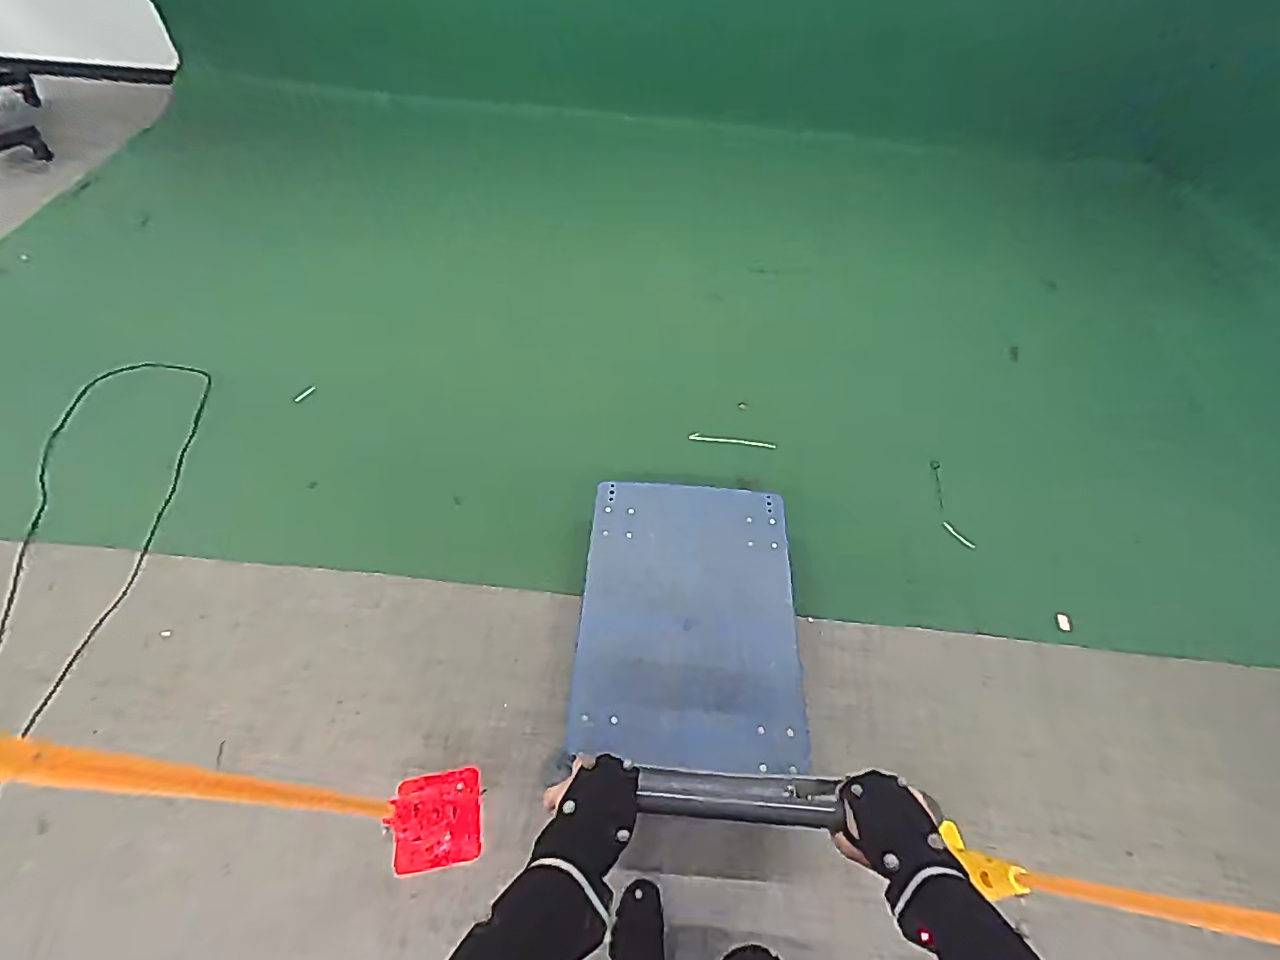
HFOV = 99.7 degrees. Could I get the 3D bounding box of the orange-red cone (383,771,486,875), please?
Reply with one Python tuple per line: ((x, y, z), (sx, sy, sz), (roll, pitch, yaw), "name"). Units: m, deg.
((-0.472, 0.727, 1.164), (0.199, 0.360, 0.198), (-8, 56, -6), "orange-red cone")
